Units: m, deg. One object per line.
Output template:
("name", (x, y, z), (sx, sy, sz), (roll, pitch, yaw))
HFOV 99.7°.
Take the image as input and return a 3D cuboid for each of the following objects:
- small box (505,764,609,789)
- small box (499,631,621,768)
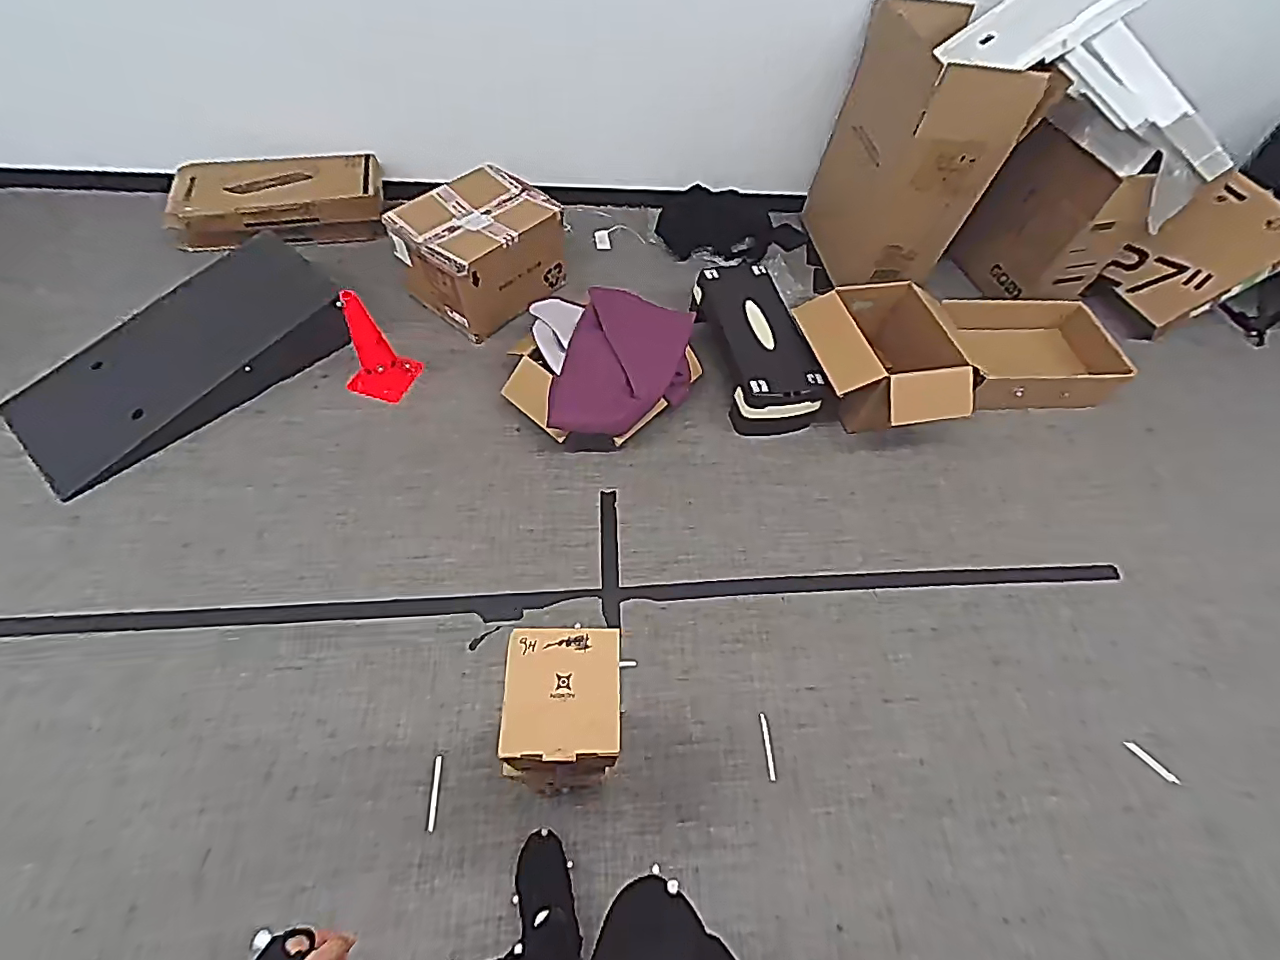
("small box", (-0.134, 0.441, 0.958), (0.168, 0.176, 0.179), (3, 58, -2))
("small box", (-0.112, 0.341, 0.829), (0.168, 0.176, 0.179), (1, 58, -4))
